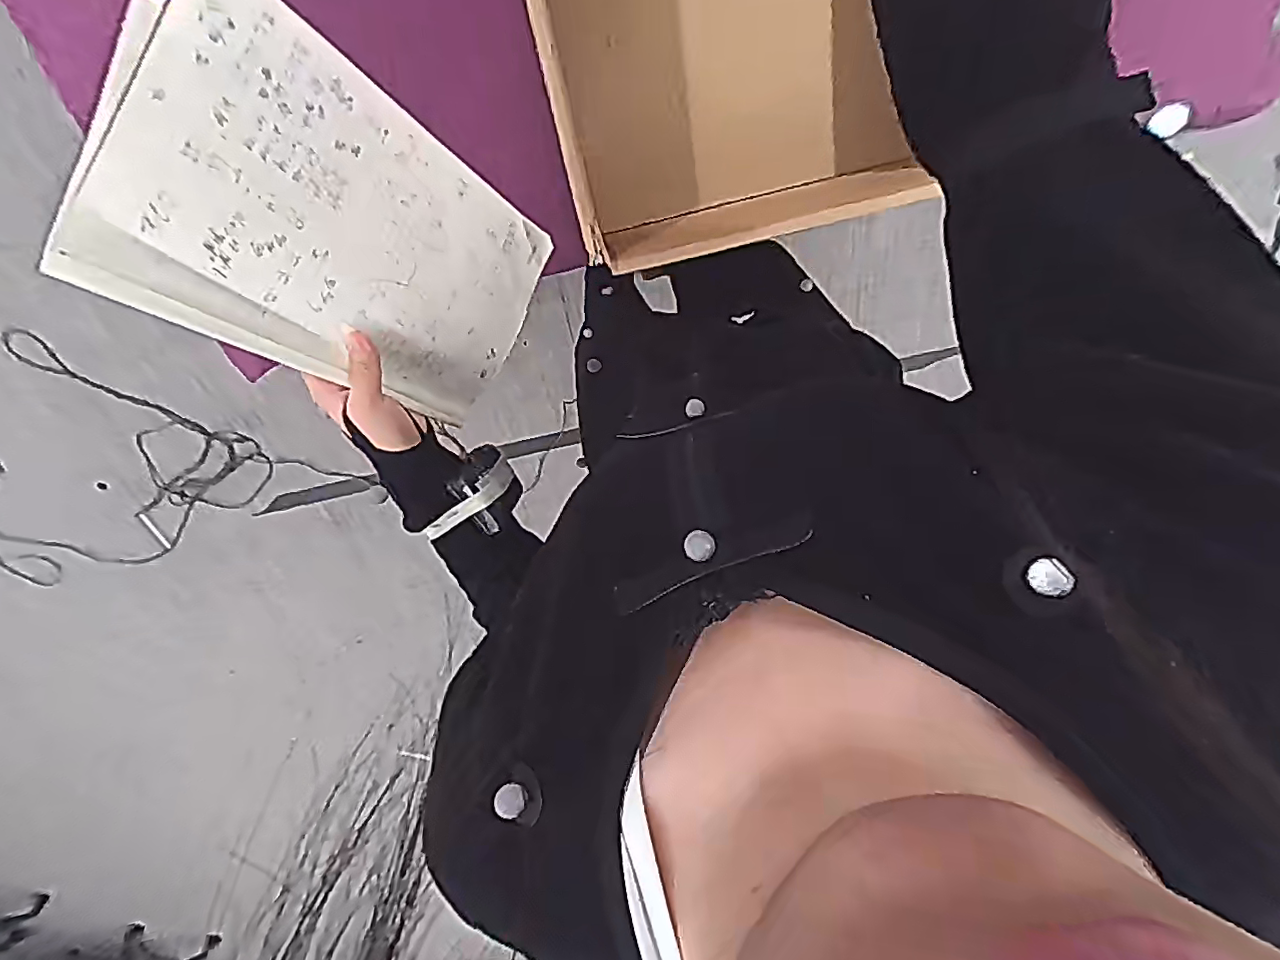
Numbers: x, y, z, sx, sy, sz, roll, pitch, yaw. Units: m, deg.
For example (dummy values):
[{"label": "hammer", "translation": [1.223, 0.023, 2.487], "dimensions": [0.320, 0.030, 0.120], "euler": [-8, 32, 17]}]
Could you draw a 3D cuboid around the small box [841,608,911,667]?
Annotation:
[{"label": "small box", "translation": [0.943, 0.654, 2.184], "dimensions": [0.168, 0.176, 0.179], "euler": [27, 117, -25]}]
